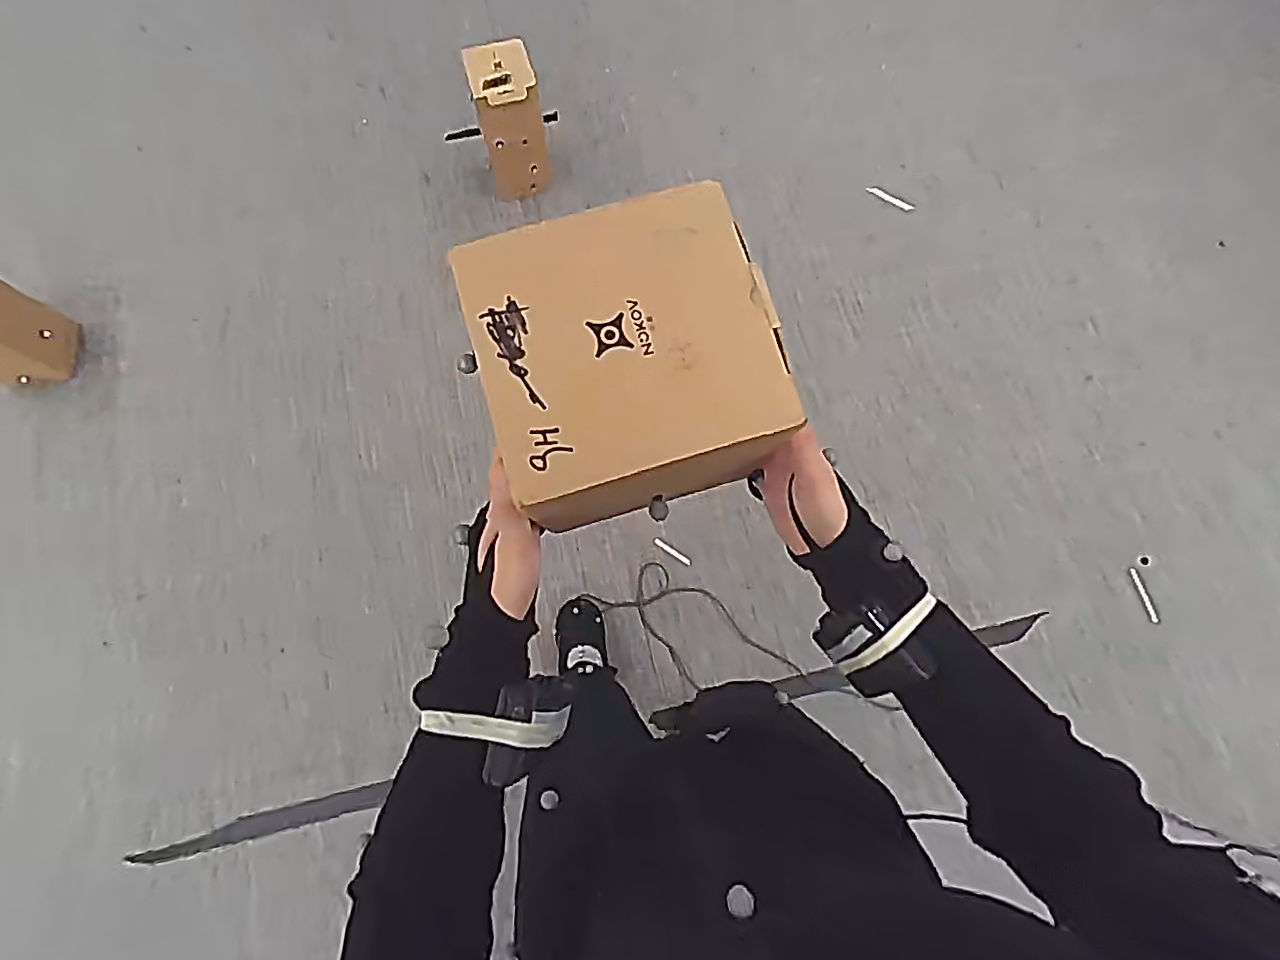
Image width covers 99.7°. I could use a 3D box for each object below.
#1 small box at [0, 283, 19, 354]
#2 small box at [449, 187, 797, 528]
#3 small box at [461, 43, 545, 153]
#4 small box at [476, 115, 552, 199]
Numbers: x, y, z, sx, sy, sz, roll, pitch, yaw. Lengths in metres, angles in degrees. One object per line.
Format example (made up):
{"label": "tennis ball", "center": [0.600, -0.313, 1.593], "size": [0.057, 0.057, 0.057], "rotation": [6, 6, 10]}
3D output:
{"label": "small box", "center": [-1.628, -0.405, 1.263], "size": [0.168, 0.176, 0.179], "rotation": [-10, 76, -3]}
{"label": "small box", "center": [-0.015, -0.071, 0.397], "size": [0.179, 0.176, 0.168], "rotation": [-16, 79, -5]}
{"label": "small box", "center": [-0.363, -1.021, 1.463], "size": [0.168, 0.176, 0.179], "rotation": [-17, 75, -6]}
{"label": "small box", "center": [-0.372, -0.977, 1.622], "size": [0.168, 0.176, 0.179], "rotation": [-17, 75, -7]}
